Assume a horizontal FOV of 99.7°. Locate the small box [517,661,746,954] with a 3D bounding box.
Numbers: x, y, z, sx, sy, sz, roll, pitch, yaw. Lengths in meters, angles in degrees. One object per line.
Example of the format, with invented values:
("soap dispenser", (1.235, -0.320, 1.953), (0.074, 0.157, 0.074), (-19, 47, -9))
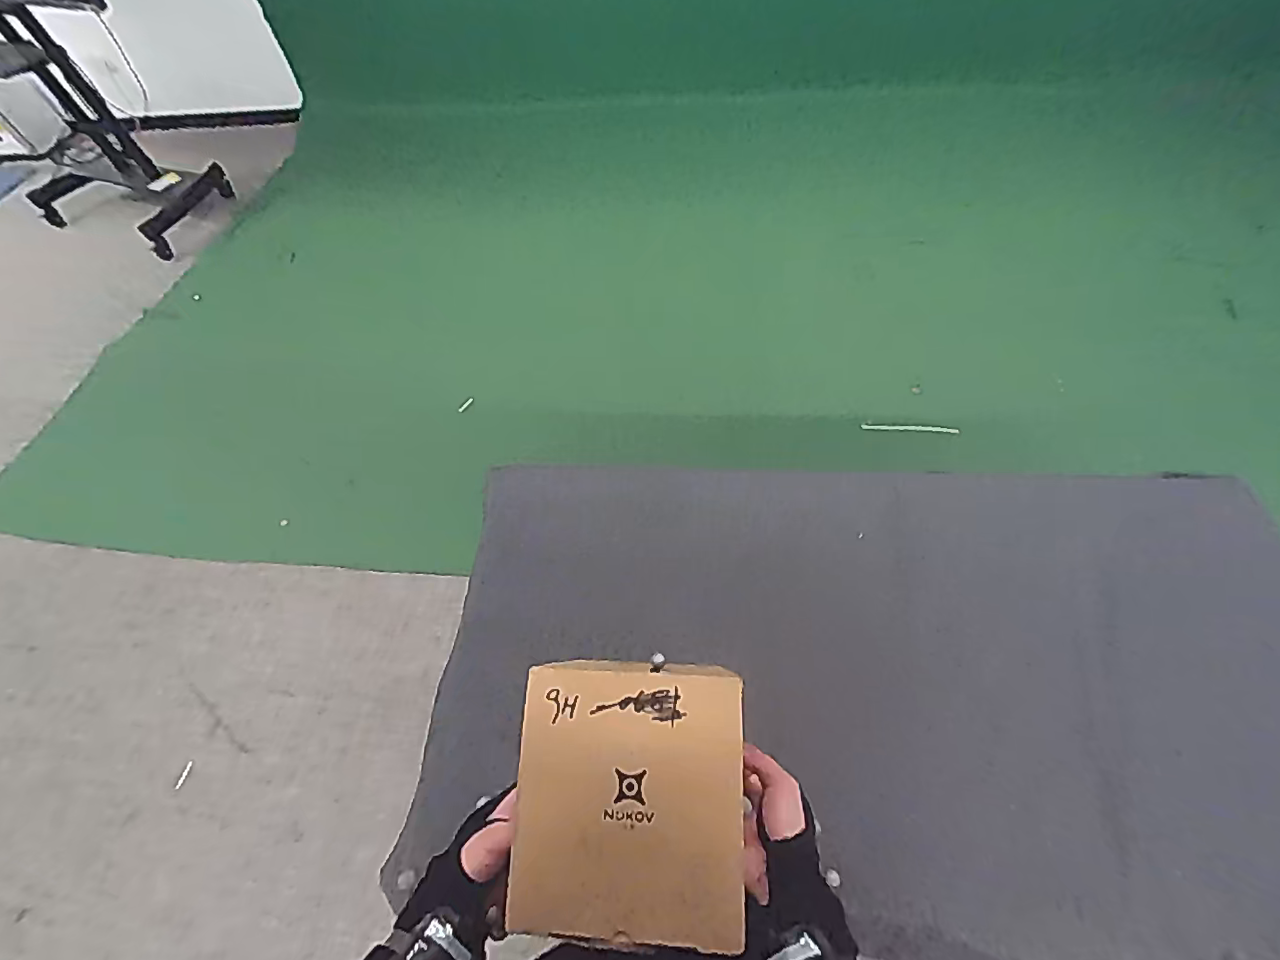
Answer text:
("small box", (0.002, 0.261, 0.477), (0.168, 0.176, 0.179), (2, 75, 4))
